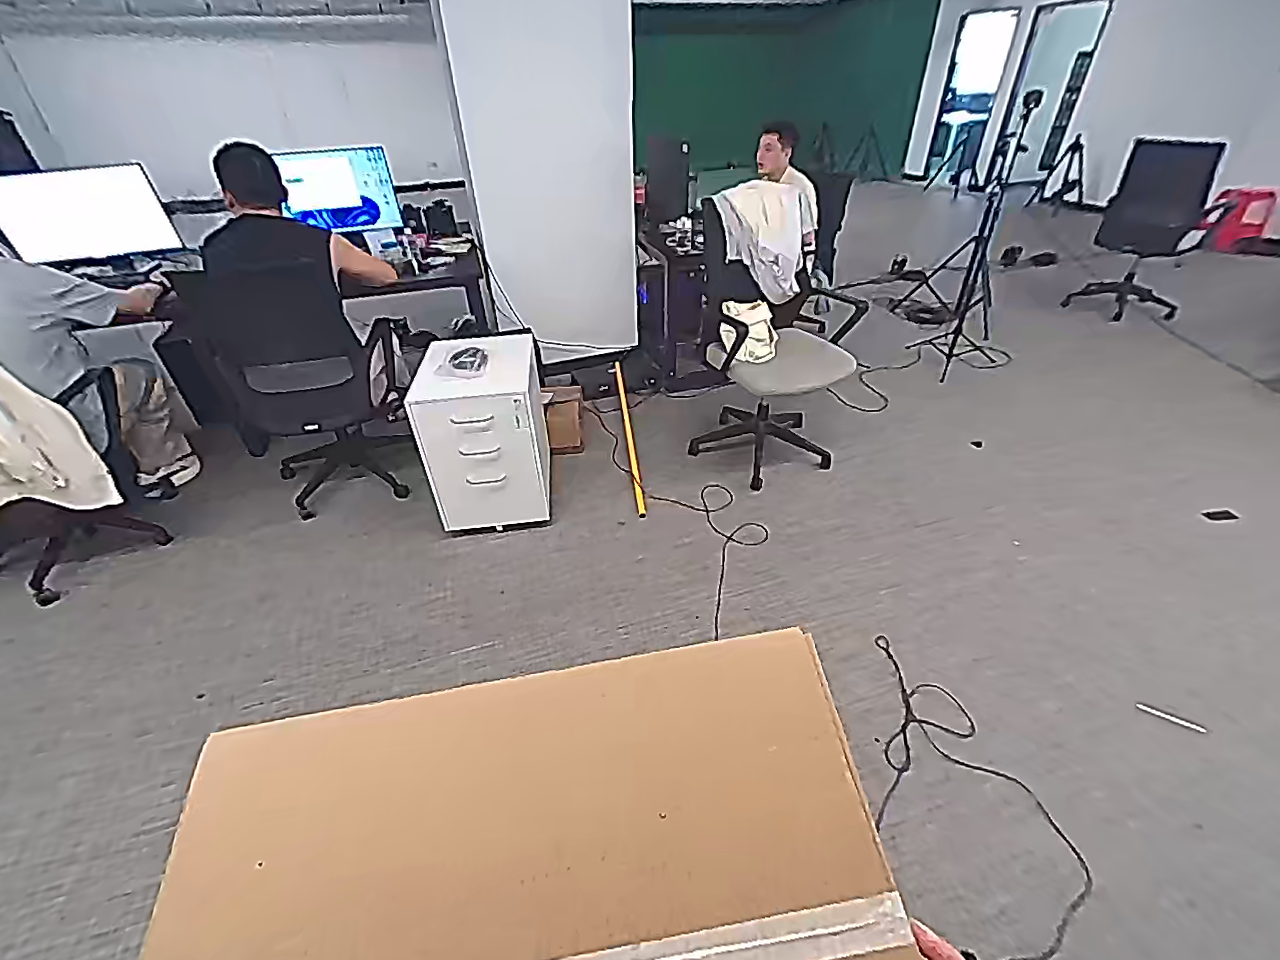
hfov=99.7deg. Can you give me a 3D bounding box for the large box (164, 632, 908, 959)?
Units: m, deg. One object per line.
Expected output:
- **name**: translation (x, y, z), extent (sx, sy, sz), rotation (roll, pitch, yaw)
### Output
- **large box**: translation (-0.047, 0.346, 0.405), extent (0.408, 0.320, 0.320), rotation (-10, 54, -1)
